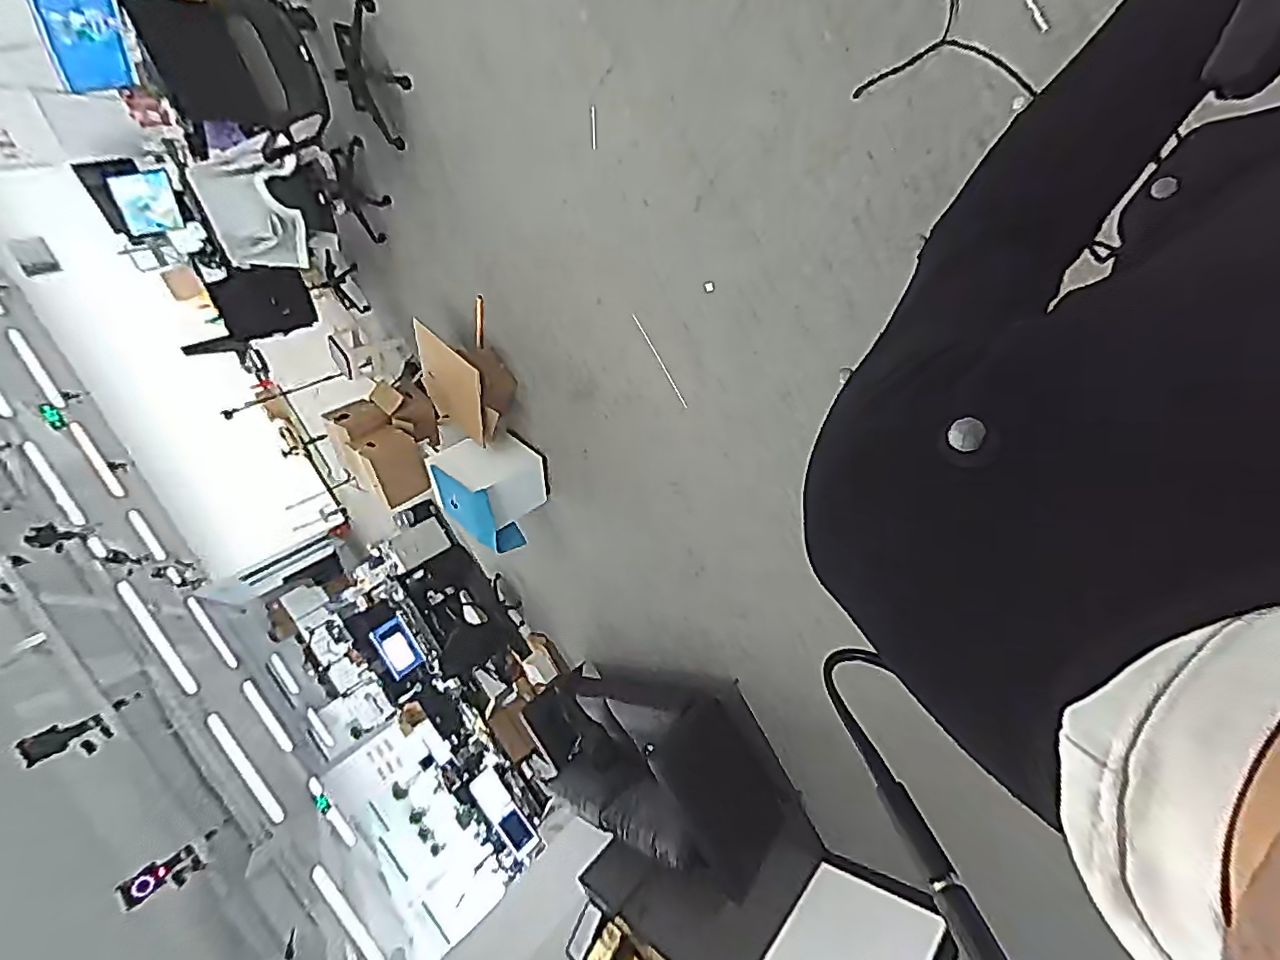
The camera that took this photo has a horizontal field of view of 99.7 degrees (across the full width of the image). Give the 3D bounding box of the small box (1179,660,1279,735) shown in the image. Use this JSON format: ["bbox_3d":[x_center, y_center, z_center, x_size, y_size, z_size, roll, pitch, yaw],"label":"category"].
[{"bbox_3d":[1.103,0.453,0.959,0.168,0.176,0.179,-11,106,55],"label":"small box"}]
